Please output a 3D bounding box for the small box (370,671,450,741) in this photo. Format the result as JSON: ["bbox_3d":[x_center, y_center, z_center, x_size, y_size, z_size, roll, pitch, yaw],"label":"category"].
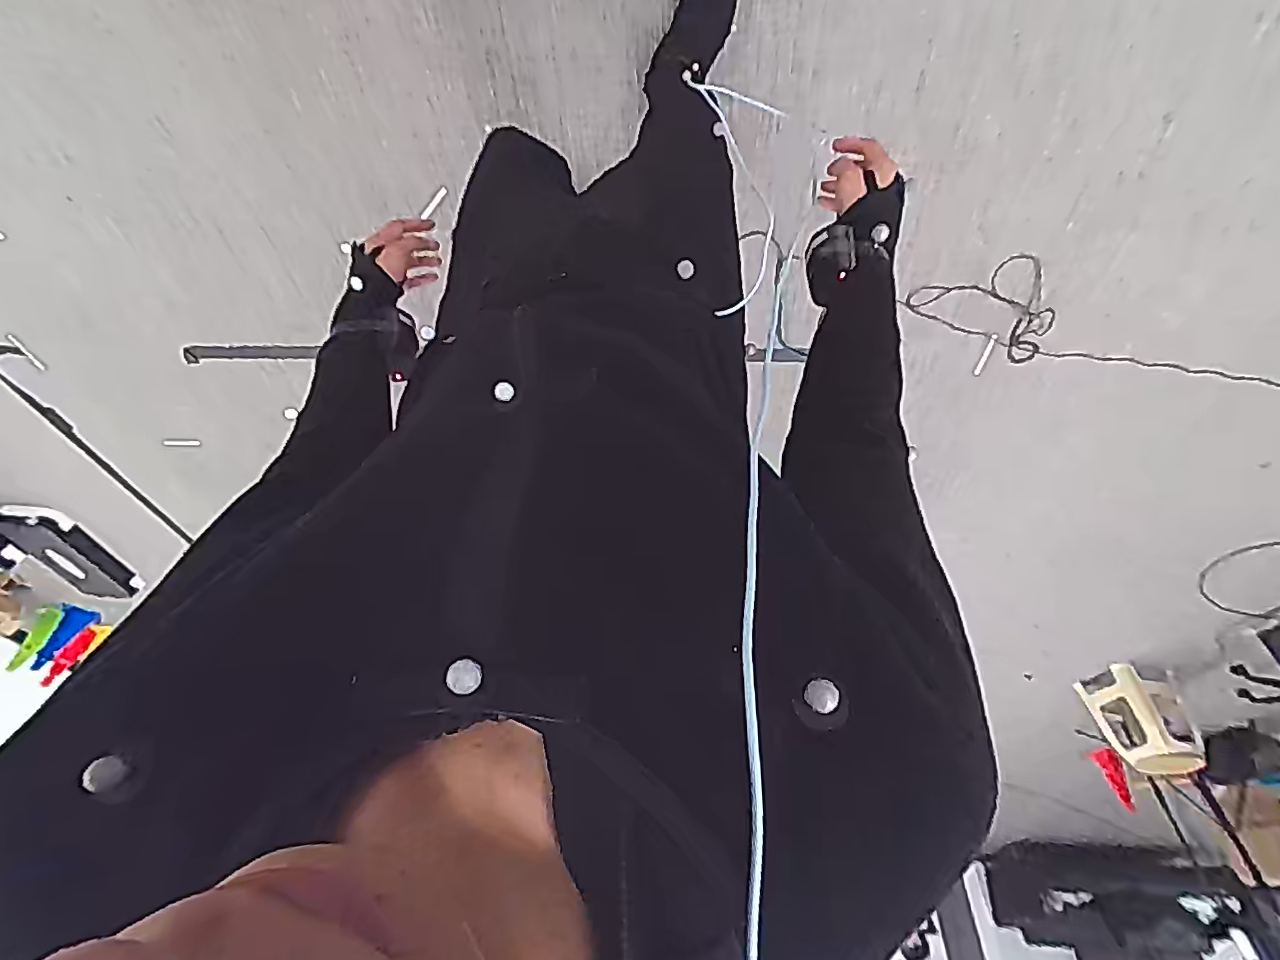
[{"bbox_3d":[-0.748,0.744,1.786,0.179,0.176,0.168,1,137,5],"label":"small box"}]
